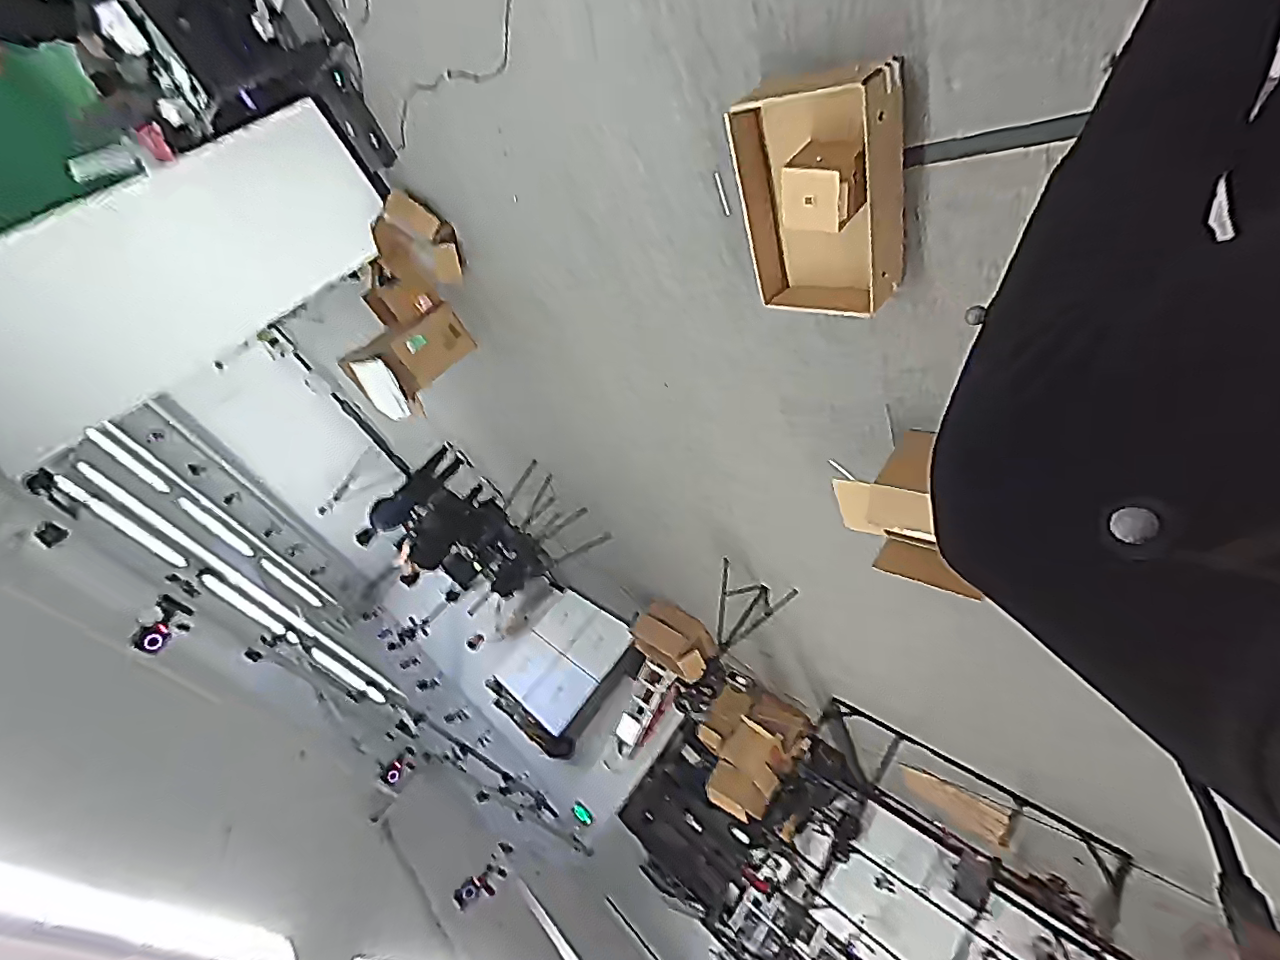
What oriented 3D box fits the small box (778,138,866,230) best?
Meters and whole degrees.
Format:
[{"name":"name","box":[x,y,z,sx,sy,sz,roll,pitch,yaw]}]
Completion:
[{"name":"small box","box":[0.503,-0.820,1.494,0.179,0.176,0.168,27,153,33]}]
